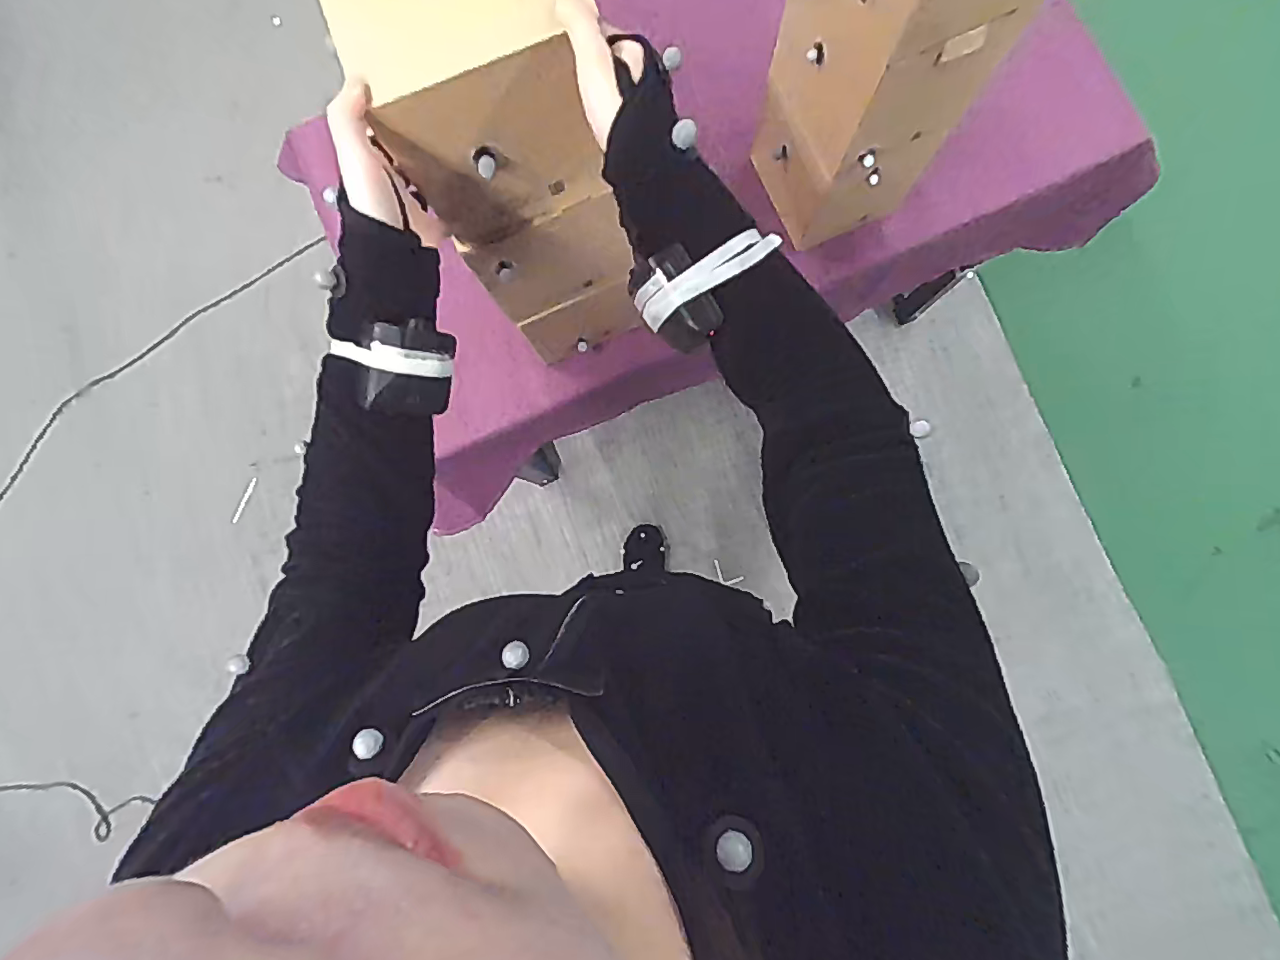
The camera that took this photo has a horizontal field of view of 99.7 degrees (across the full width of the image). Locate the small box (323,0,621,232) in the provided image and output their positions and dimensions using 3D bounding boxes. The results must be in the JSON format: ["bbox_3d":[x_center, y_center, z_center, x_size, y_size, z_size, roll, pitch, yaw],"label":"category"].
[{"bbox_3d":[-0.122,-0.329,0.431,0.168,0.176,0.179,-20,85,2],"label":"small box"}]

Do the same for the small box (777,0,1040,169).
[{"bbox_3d":[0.272,-0.481,0.592,0.168,0.176,0.179,-24,84,0],"label":"small box"}]

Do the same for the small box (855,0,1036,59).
[{"bbox_3d":[0.268,-0.492,0.427,0.179,0.176,0.168,-24,85,0],"label":"small box"}]

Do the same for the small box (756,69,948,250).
[{"bbox_3d":[0.278,-0.464,0.755,0.168,0.176,0.179,-24,83,1],"label":"small box"}]

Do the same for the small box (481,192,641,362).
[{"bbox_3d":[-0.106,-0.292,0.757,0.168,0.176,0.179,-23,85,1],"label":"small box"}]
